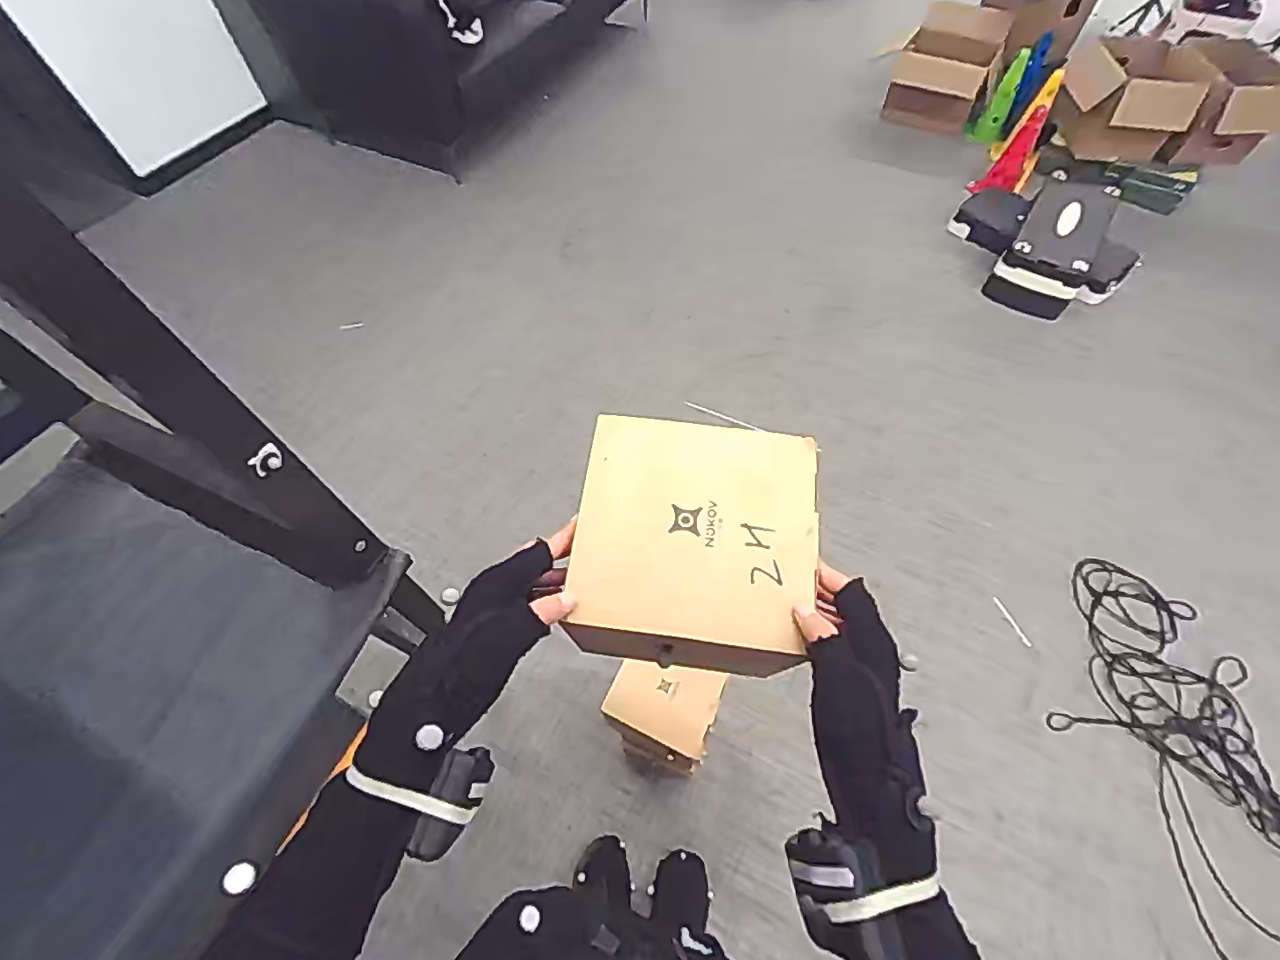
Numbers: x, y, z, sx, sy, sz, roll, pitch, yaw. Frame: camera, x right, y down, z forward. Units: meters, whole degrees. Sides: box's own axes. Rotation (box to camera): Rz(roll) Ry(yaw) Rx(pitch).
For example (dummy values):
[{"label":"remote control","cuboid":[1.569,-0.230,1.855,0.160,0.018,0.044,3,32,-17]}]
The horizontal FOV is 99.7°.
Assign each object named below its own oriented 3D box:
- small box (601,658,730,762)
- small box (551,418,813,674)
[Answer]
[{"label":"small box","cuboid":[0.048,0.388,0.975,0.179,0.176,0.168,22,62,14]},{"label":"small box","cuboid":[0.038,0.066,0.462,0.179,0.176,0.168,7,67,3]}]
